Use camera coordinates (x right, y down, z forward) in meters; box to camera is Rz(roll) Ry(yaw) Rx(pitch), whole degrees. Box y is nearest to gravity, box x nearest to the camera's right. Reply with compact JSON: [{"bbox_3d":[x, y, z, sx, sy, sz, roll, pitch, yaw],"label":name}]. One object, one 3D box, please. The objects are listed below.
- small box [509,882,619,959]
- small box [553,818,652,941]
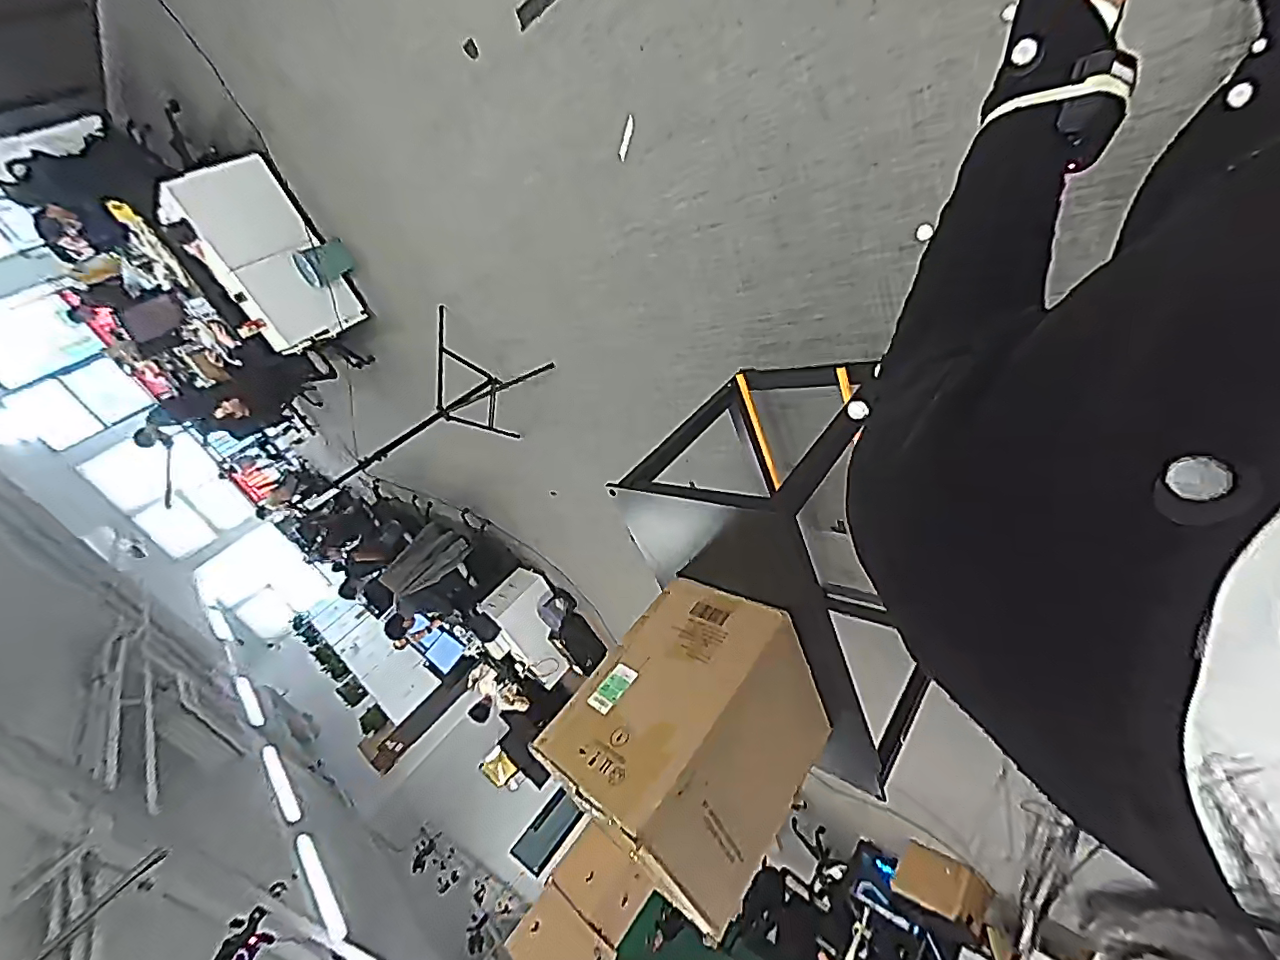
[{"bbox_3d":[-0.184,1.143,1.337,0.179,0.176,0.168,11,136,46],"label":"small box"},{"bbox_3d":[-0.090,1.046,1.430,0.179,0.176,0.168,9,133,47],"label":"small box"}]
